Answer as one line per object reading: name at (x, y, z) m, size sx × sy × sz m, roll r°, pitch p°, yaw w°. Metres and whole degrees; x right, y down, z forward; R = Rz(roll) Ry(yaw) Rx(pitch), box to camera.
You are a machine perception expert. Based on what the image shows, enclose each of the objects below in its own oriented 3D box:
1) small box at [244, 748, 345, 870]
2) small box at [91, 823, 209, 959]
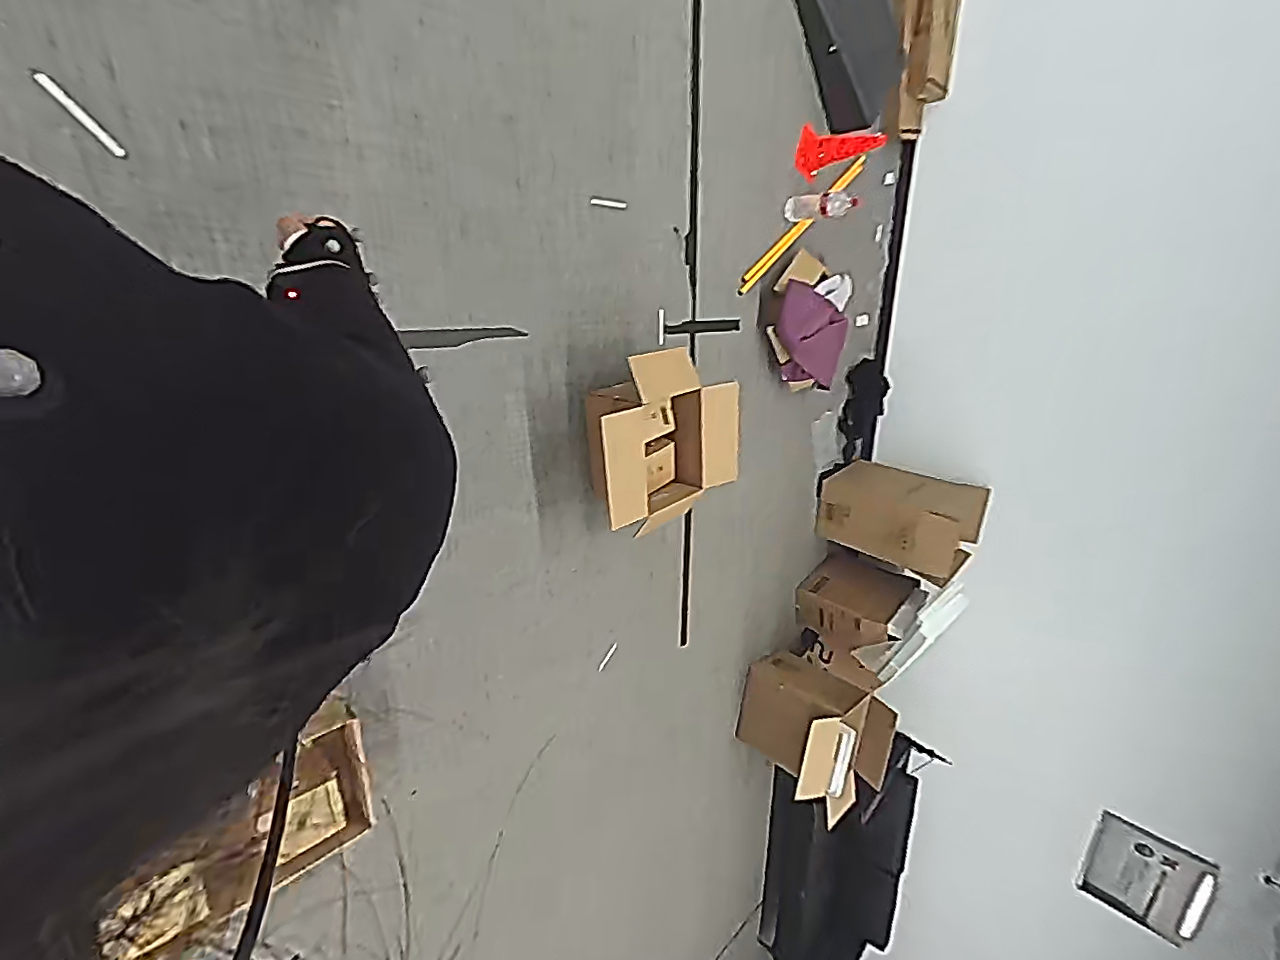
small box at (-0.901, 0.844, 1.410) m, size 0.179 × 0.176 × 0.168 m, roll -15°, pitch 112°, yaw -41°
small box at (-1.106, 0.919, 1.220) m, size 0.168 × 0.176 × 0.179 m, roll -14°, pitch 111°, yaw -44°
